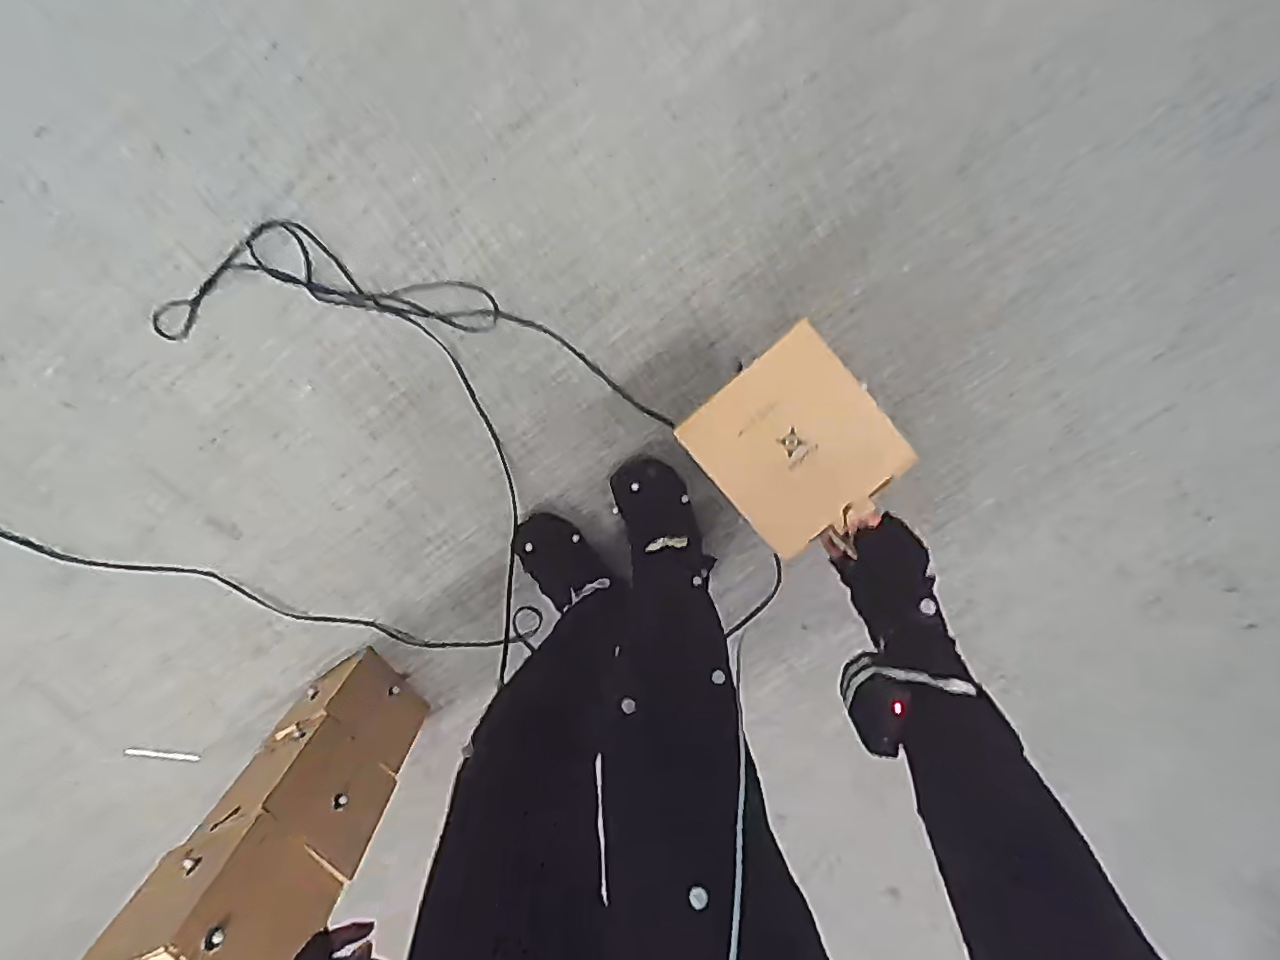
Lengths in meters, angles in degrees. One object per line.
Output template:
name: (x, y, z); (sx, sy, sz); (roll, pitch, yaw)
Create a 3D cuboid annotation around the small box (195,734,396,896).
small box: (-0.518, 0.523, 0.828); (0.168, 0.176, 0.179); (-31, 107, 9)

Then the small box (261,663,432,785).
small box: (-0.520, 0.463, 0.984); (0.168, 0.176, 0.179); (-34, 104, 13)

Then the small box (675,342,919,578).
small box: (0.158, -0.028, 0.596); (0.168, 0.176, 0.179); (-40, 92, 10)

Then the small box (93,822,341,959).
small box: (-0.523, 0.578, 0.676); (0.168, 0.176, 0.179); (-27, 107, 8)
